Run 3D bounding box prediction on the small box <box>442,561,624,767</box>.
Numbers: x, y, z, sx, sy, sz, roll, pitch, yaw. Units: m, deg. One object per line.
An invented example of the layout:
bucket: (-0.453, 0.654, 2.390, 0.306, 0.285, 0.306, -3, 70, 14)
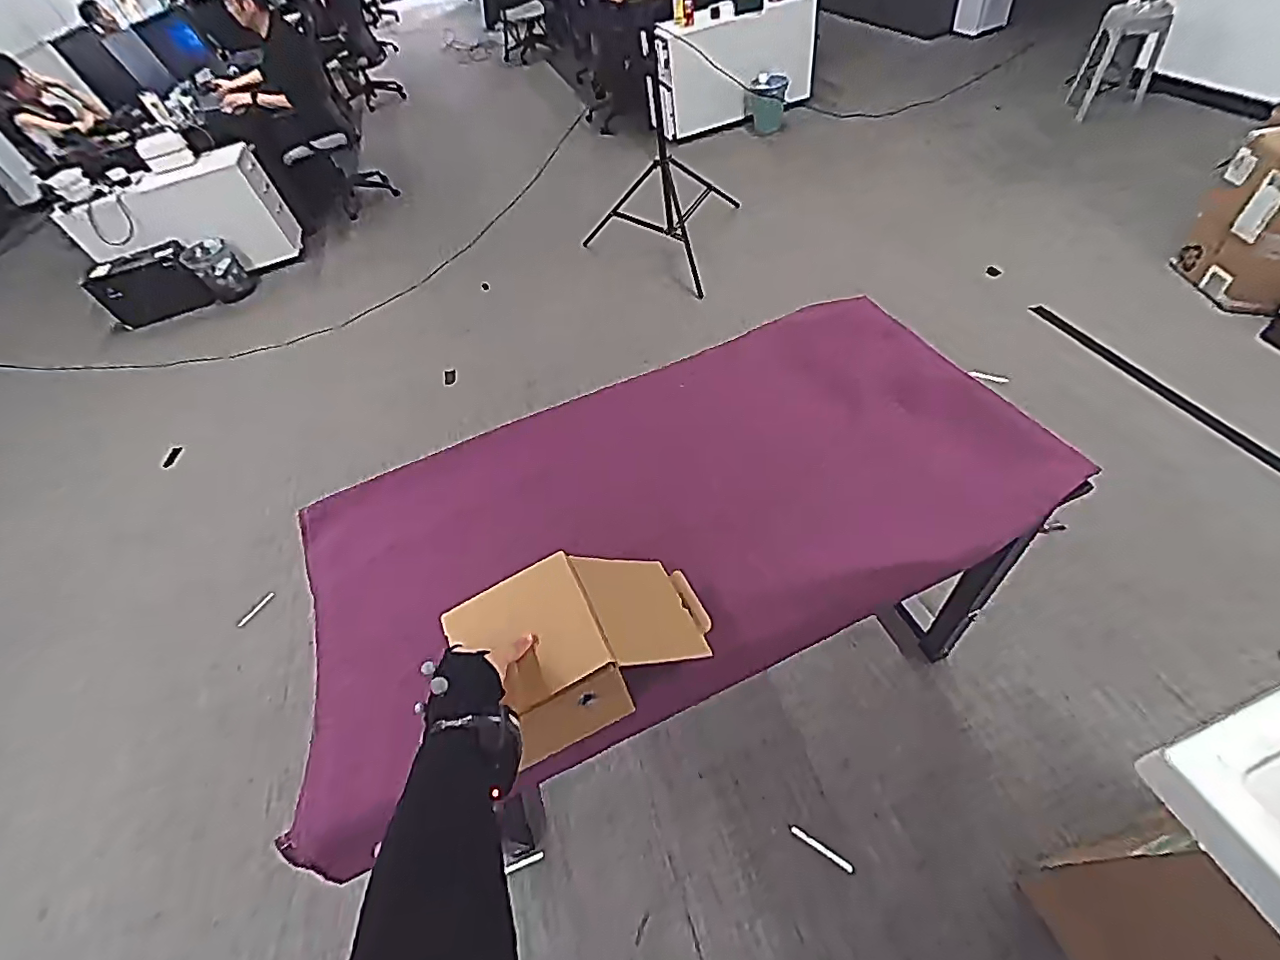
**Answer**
small box: (-0.129, 0.241, 0.703, 0.179, 0.176, 0.168, -23, 52, -10)
